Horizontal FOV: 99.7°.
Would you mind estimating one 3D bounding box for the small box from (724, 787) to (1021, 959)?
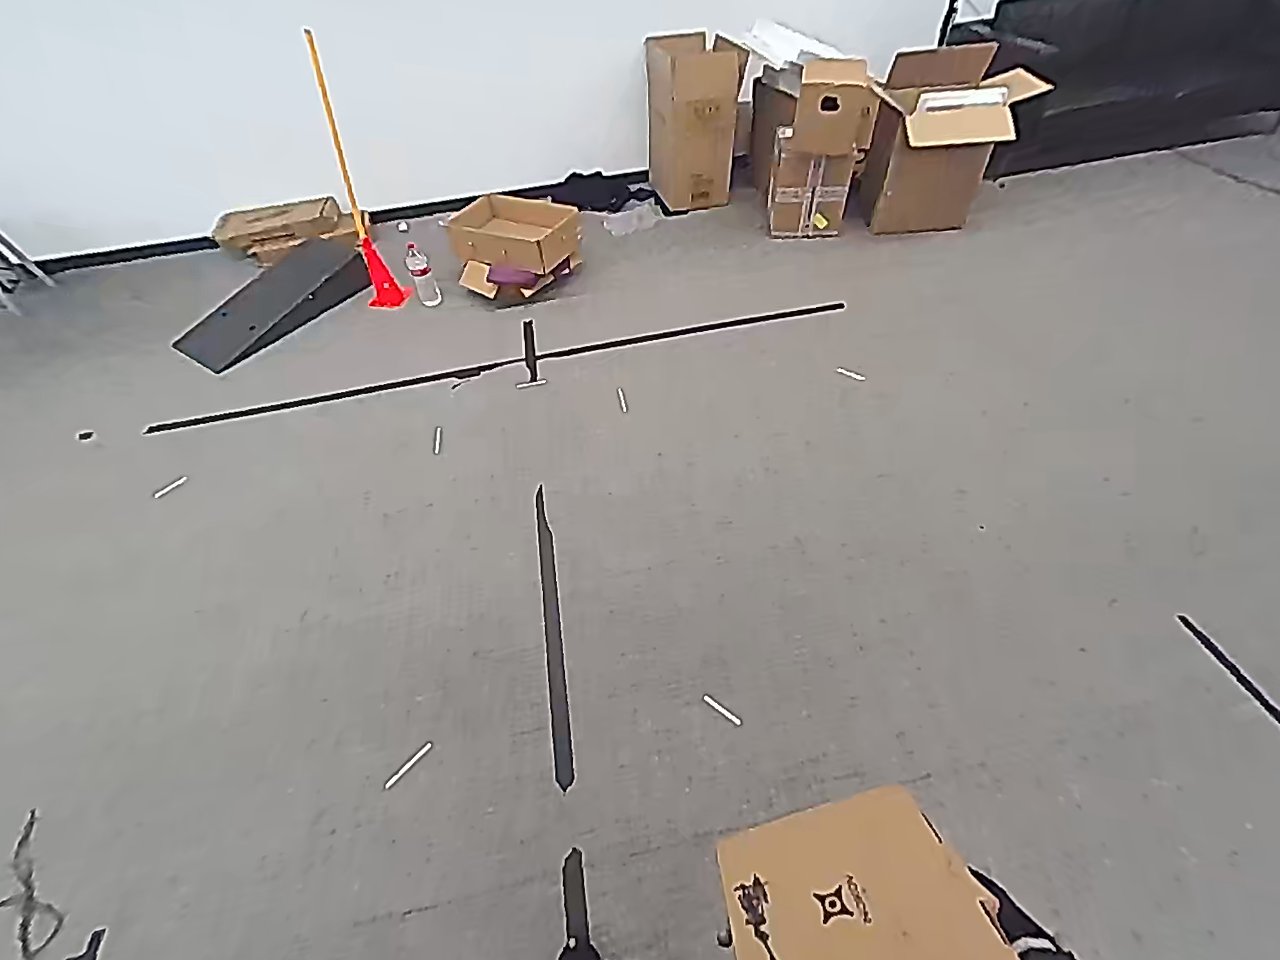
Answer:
[{"bbox_3d":[0.183,0.390,0.421,0.179,0.176,0.168,-19,11,3],"label":"small box"}]
